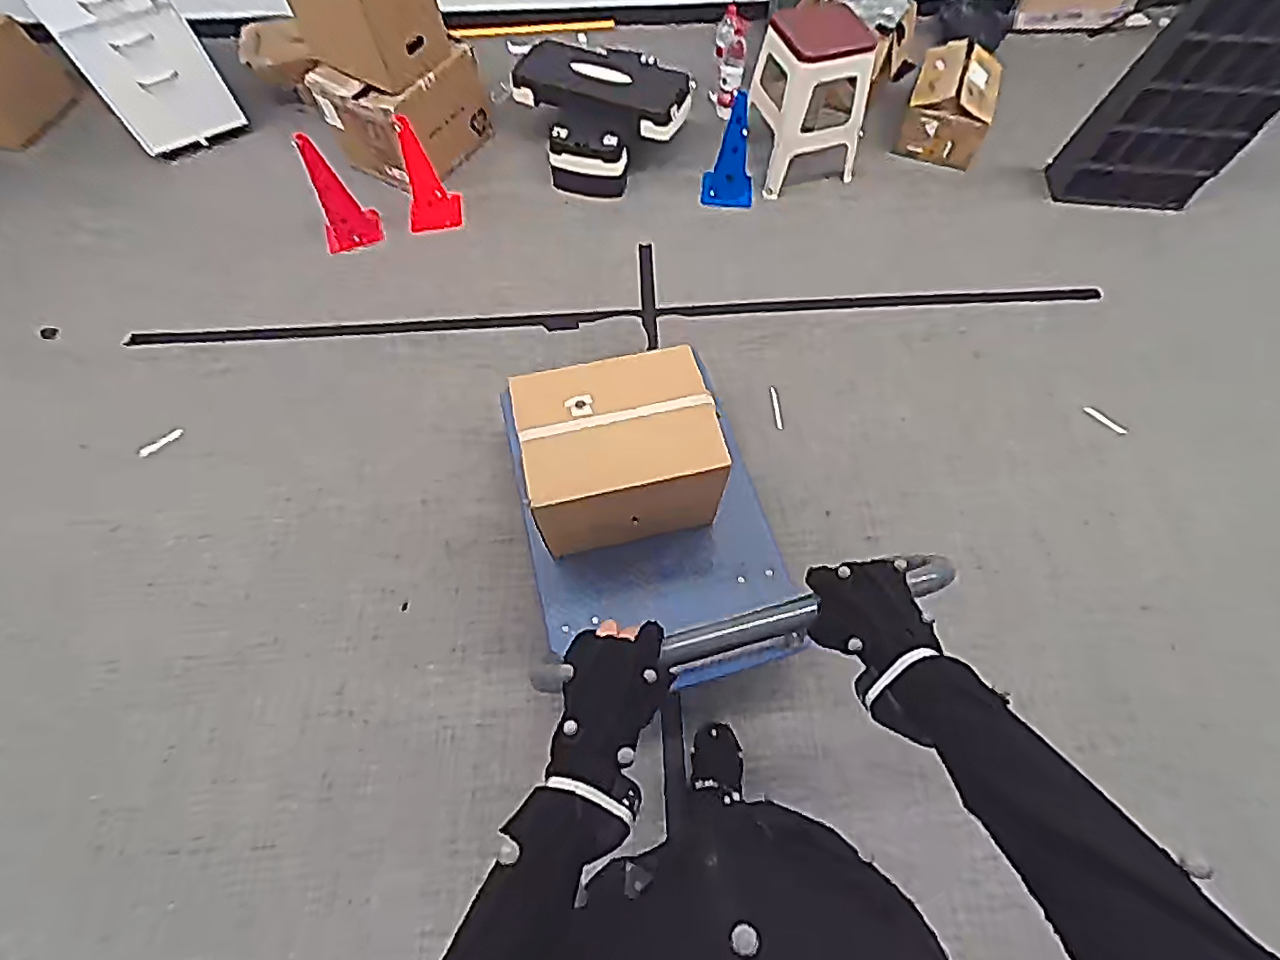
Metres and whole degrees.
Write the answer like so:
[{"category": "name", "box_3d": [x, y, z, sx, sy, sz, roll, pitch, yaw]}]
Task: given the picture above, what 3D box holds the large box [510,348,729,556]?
[{"category": "large box", "box_3d": [-0.049, -0.052, 1.246, 0.408, 0.320, 0.320, -13, 65, -6]}]
